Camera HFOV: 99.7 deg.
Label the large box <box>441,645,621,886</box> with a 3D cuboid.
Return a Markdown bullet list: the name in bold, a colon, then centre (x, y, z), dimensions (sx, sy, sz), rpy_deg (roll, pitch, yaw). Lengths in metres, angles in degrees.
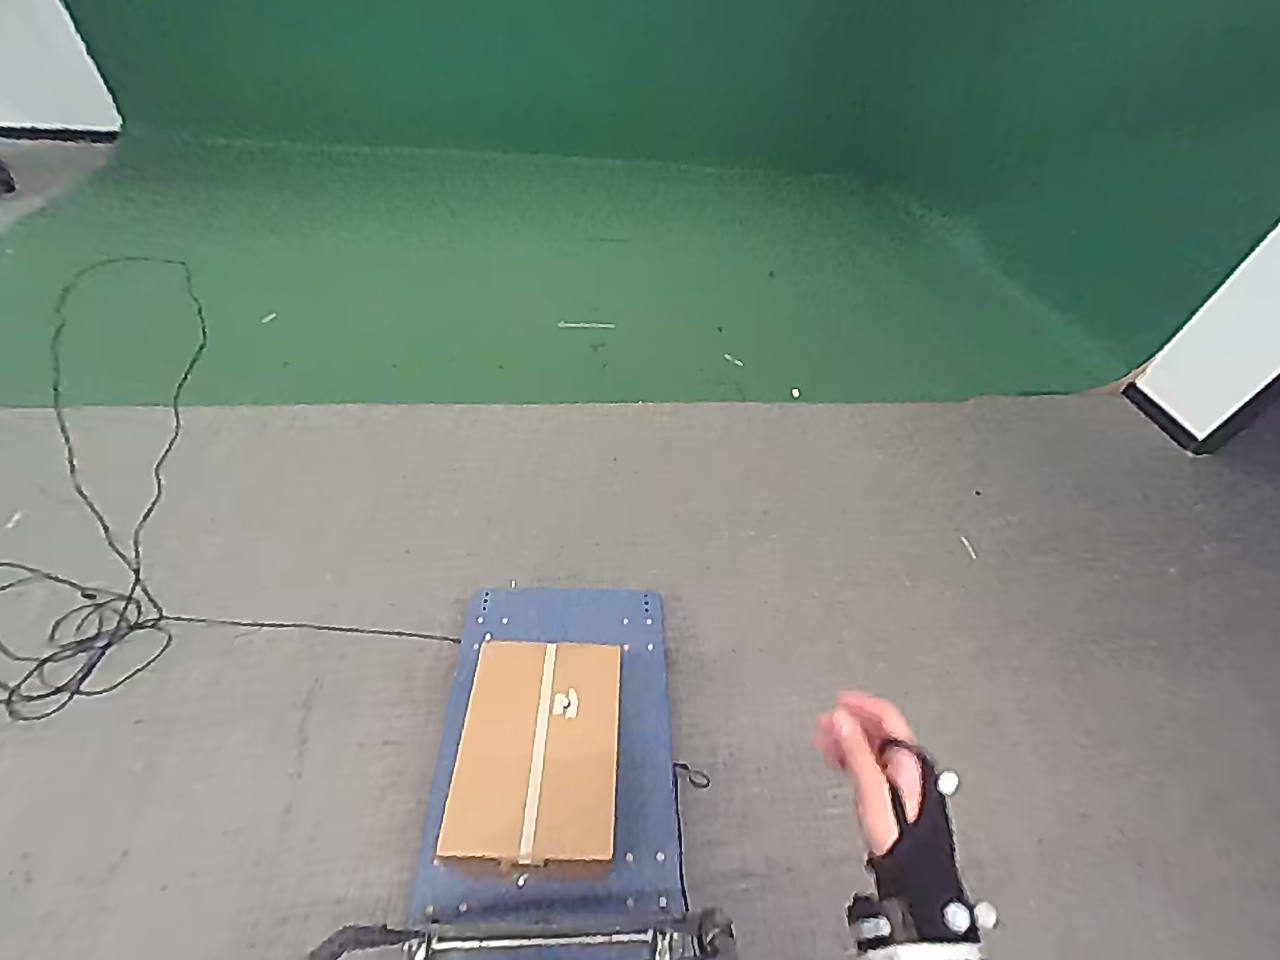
- **large box**: centre (-0.205, 0.620, 1.180), dimensions (0.320, 0.320, 0.408), rpy_deg (4, 47, -3)
